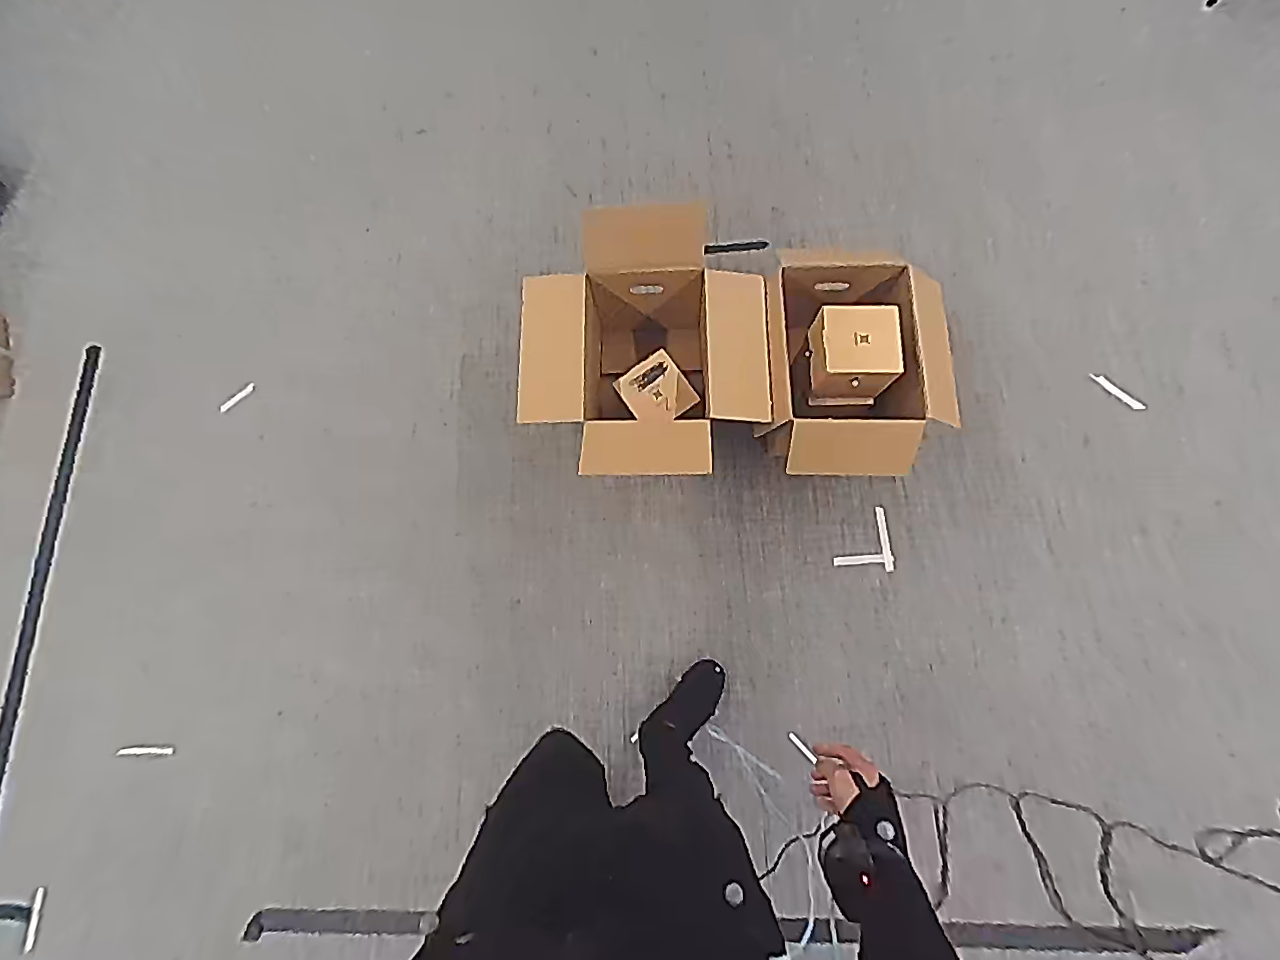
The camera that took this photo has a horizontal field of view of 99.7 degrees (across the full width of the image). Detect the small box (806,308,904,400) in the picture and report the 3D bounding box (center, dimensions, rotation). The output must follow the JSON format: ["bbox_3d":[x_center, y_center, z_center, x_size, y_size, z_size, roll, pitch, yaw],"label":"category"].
[{"bbox_3d":[0.512,-0.299,1.306,0.179,0.176,0.168,0,79,3],"label":"small box"}]
